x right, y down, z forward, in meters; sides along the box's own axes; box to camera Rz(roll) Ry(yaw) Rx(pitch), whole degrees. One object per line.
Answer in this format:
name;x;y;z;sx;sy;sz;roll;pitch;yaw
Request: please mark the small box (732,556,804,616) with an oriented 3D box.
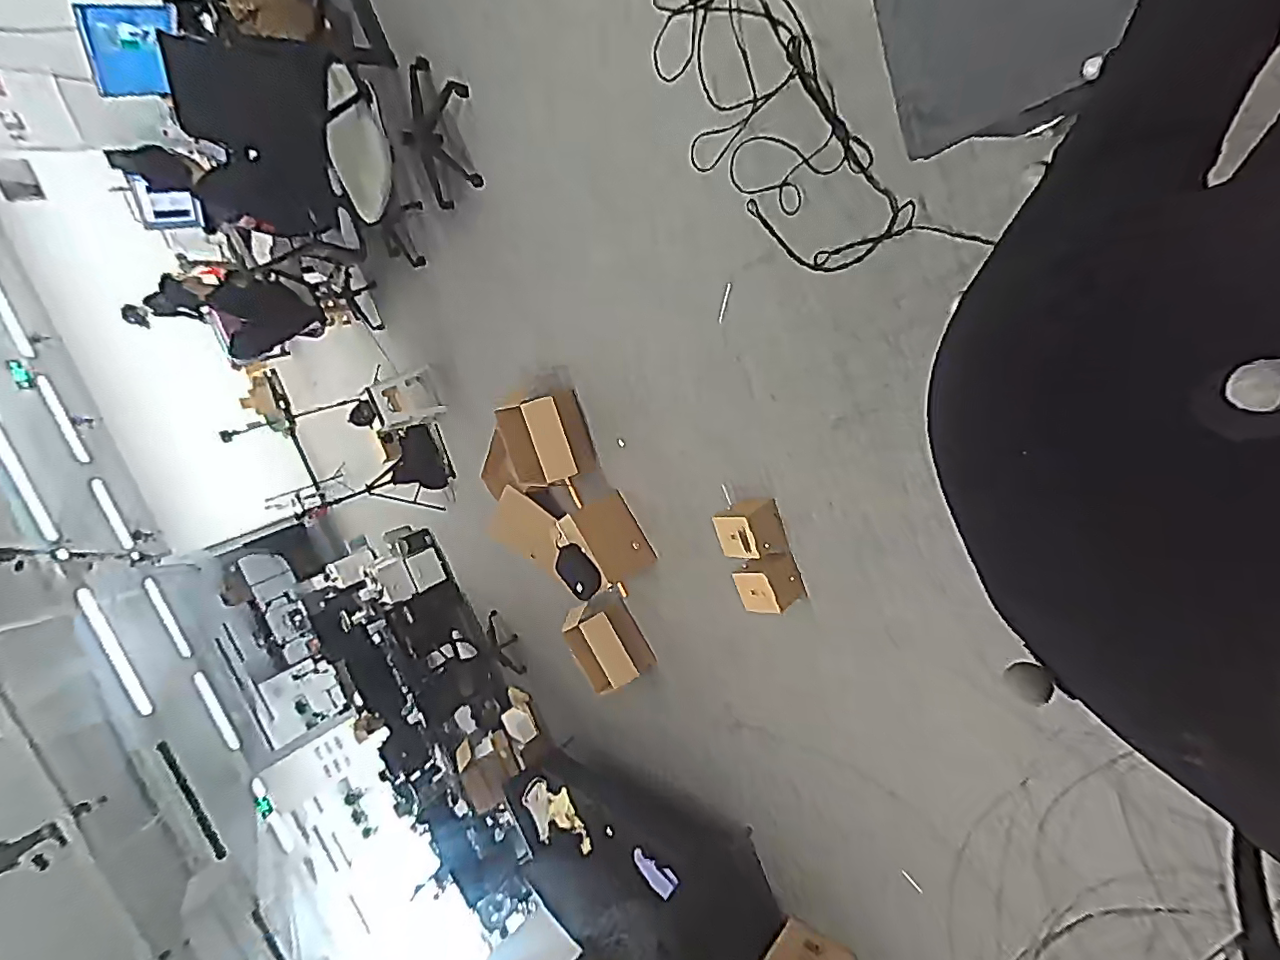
small box;0.486;0.397;2.048;0.179;0.176;0.168;-15;100;54
